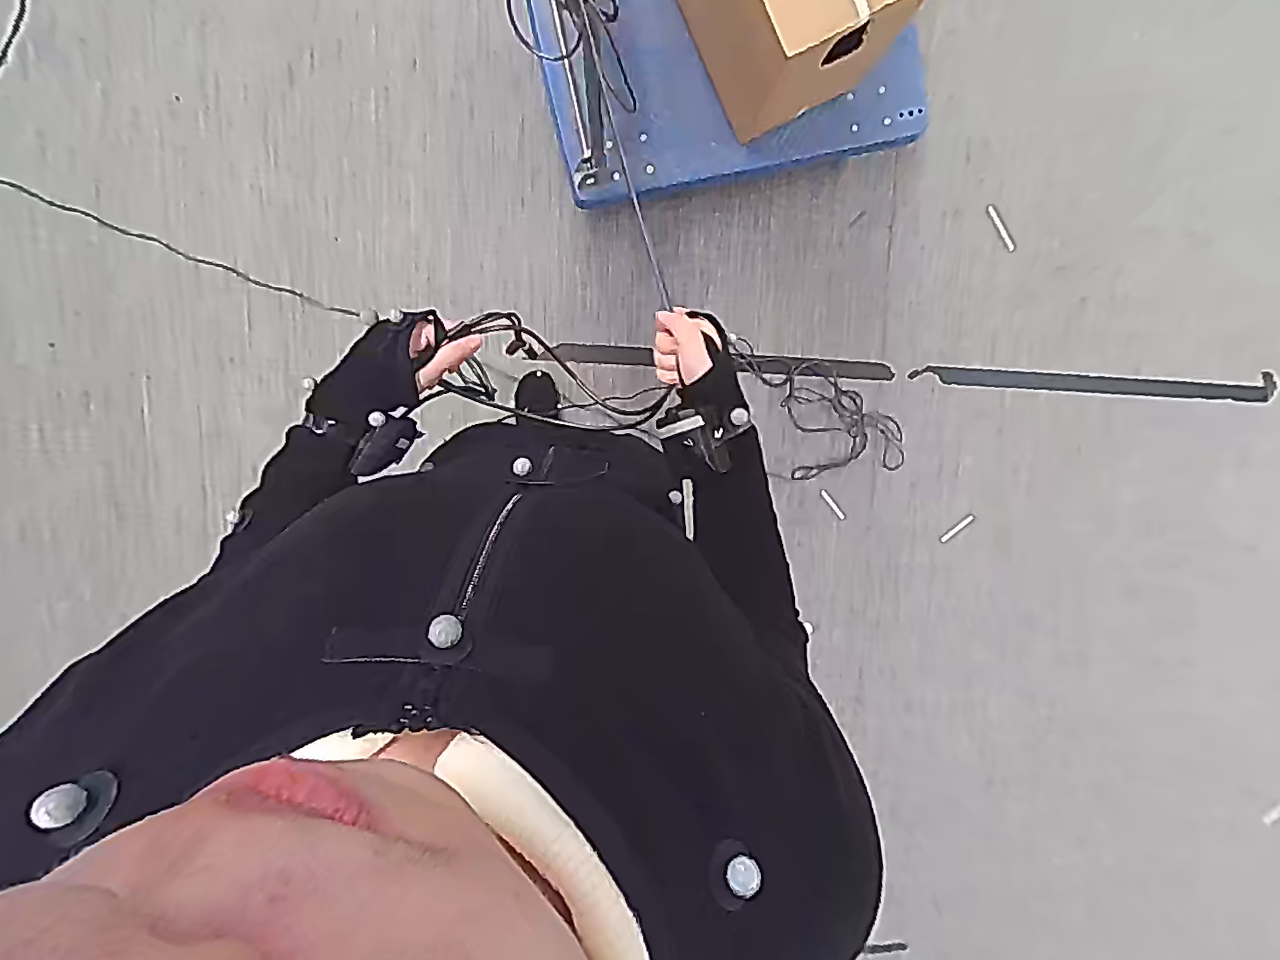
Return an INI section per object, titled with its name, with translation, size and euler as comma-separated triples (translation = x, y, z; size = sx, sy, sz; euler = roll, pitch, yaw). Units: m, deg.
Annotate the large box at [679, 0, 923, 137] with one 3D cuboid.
[large box]
translation = 0.291, -1.008, 1.072
size = 0.320, 0.320, 0.408
euler = -28, 100, -1
